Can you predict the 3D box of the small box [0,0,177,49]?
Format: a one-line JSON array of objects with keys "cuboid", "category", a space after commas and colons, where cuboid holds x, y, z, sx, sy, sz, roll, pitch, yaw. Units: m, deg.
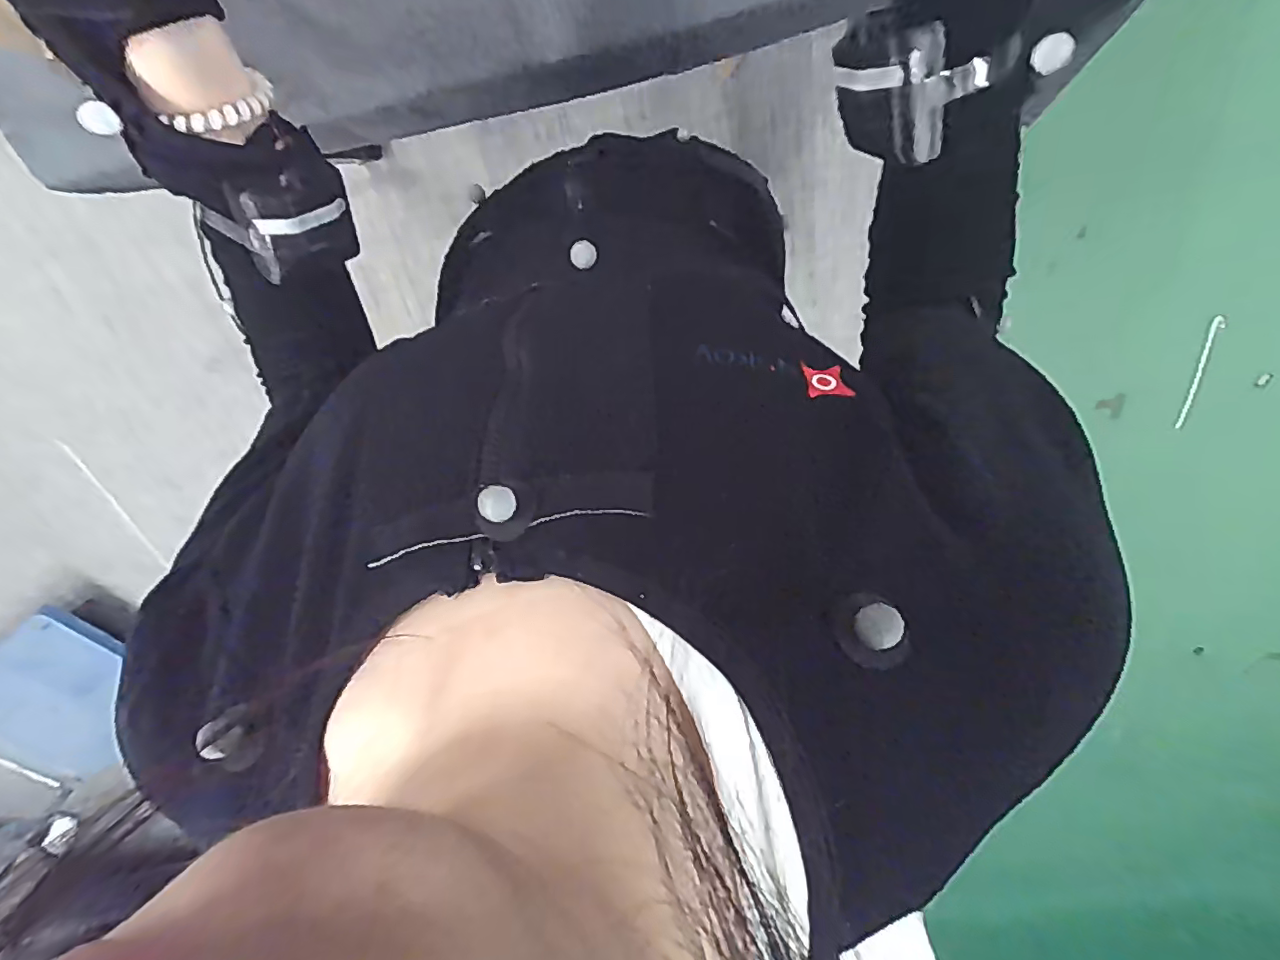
[{"cuboid": [-0.533, -0.472, 0.415, 0.168, 0.176, 0.179, -12, 120, 7], "category": "small box"}]
